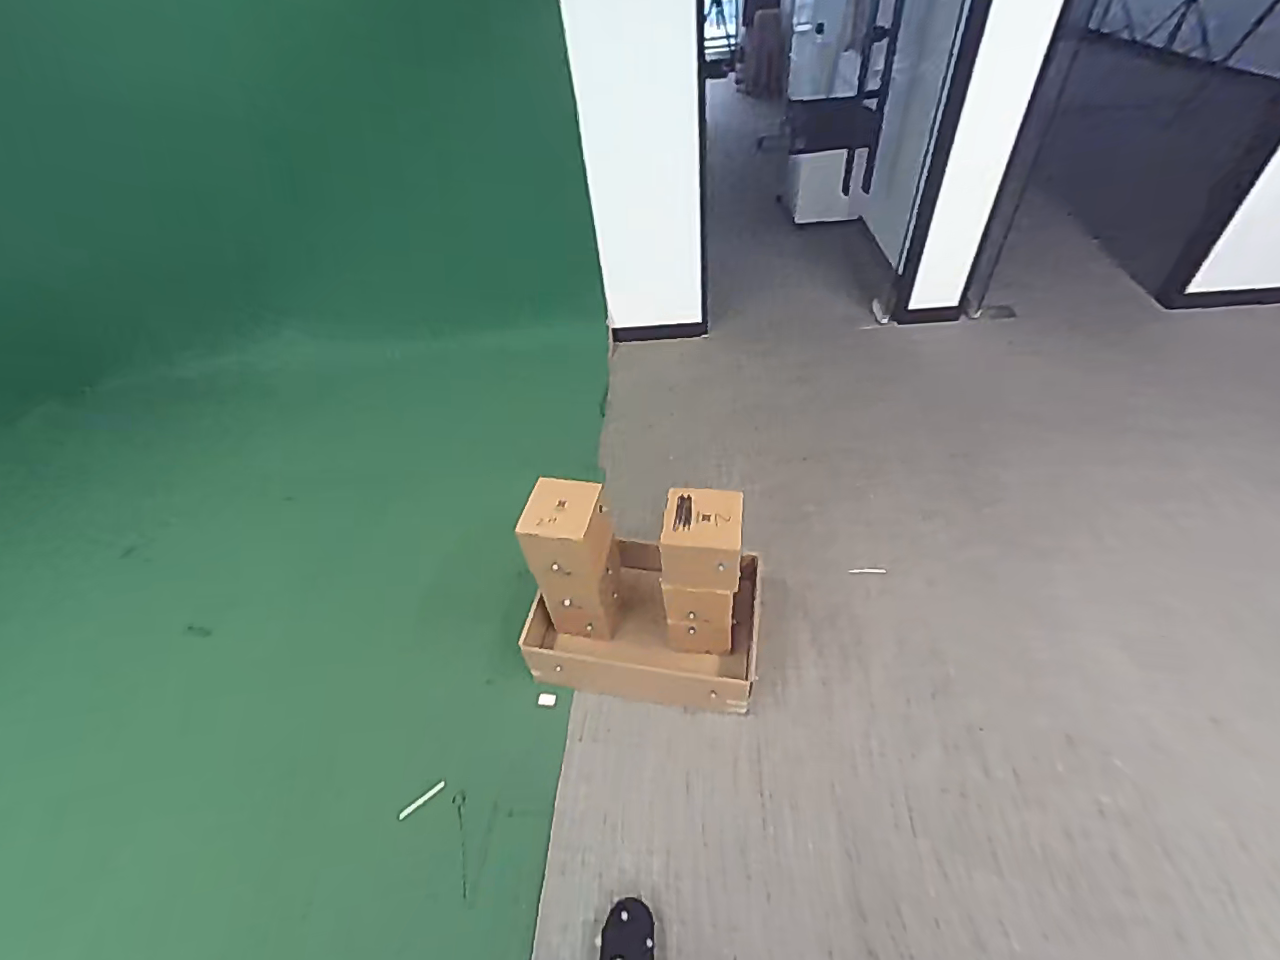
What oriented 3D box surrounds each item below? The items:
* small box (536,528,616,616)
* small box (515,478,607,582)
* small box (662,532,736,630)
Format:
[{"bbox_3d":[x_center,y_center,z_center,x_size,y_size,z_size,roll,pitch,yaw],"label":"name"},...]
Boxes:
[{"bbox_3d":[-0.165,0.234,1.443,0.168,0.176,0.179,8,49,13],"label":"small box"},{"bbox_3d":[-0.183,0.123,1.323,0.168,0.176,0.179,6,48,12],"label":"small box"},{"bbox_3d":[0.153,0.256,1.380,0.168,0.176,0.179,4,48,12],"label":"small box"}]
